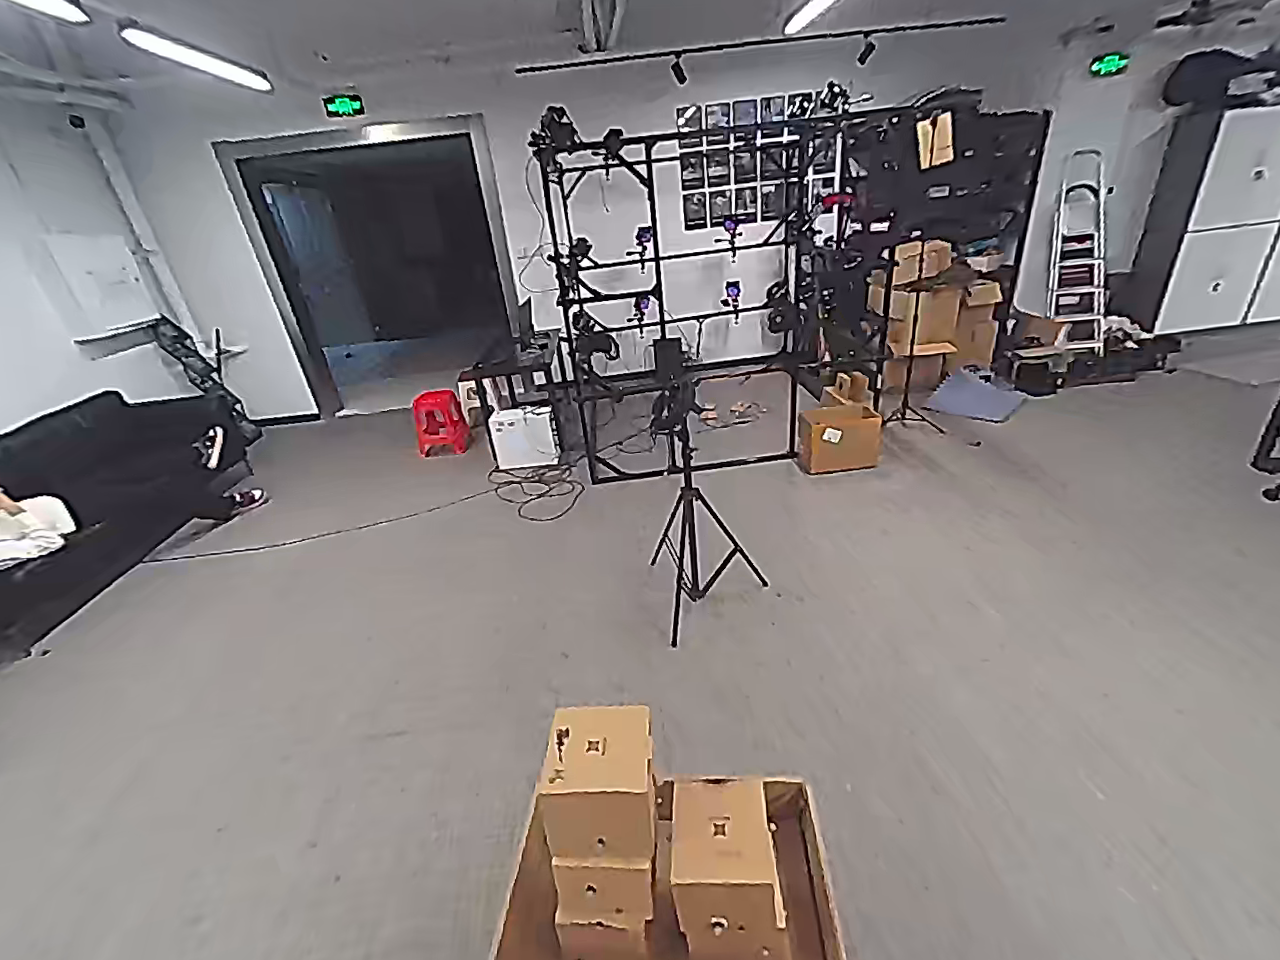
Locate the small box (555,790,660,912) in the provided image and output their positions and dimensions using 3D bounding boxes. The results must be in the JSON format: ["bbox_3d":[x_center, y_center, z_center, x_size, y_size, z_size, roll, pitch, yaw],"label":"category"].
[{"bbox_3d":[-0.051,0.665,1.007,0.168,0.176,0.179,-1,26,5],"label":"small box"}]

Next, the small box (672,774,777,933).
[{"bbox_3d":[0.151,0.659,0.964,0.168,0.176,0.179,-5,26,9],"label":"small box"}]

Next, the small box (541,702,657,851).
[{"bbox_3d":[-0.061,0.514,0.943,0.179,0.176,0.168,-1,26,4],"label":"small box"}]
